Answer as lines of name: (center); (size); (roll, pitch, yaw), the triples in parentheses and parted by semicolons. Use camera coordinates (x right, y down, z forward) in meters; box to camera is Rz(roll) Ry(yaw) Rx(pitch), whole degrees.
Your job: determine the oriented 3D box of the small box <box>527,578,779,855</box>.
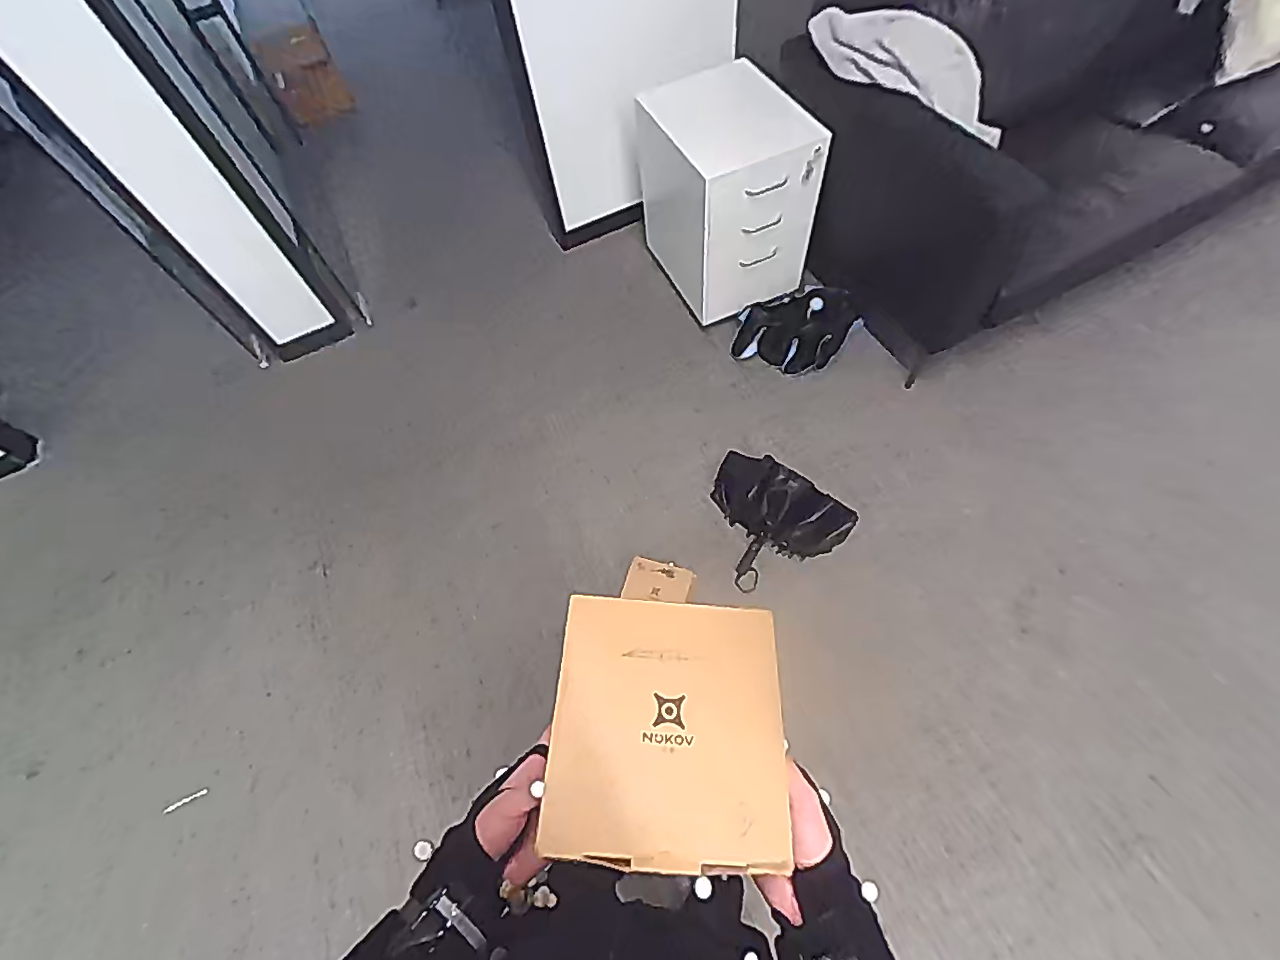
small box: (0.008, 0.203, 0.454); (0.168, 0.176, 0.179); (6, 54, -3)
